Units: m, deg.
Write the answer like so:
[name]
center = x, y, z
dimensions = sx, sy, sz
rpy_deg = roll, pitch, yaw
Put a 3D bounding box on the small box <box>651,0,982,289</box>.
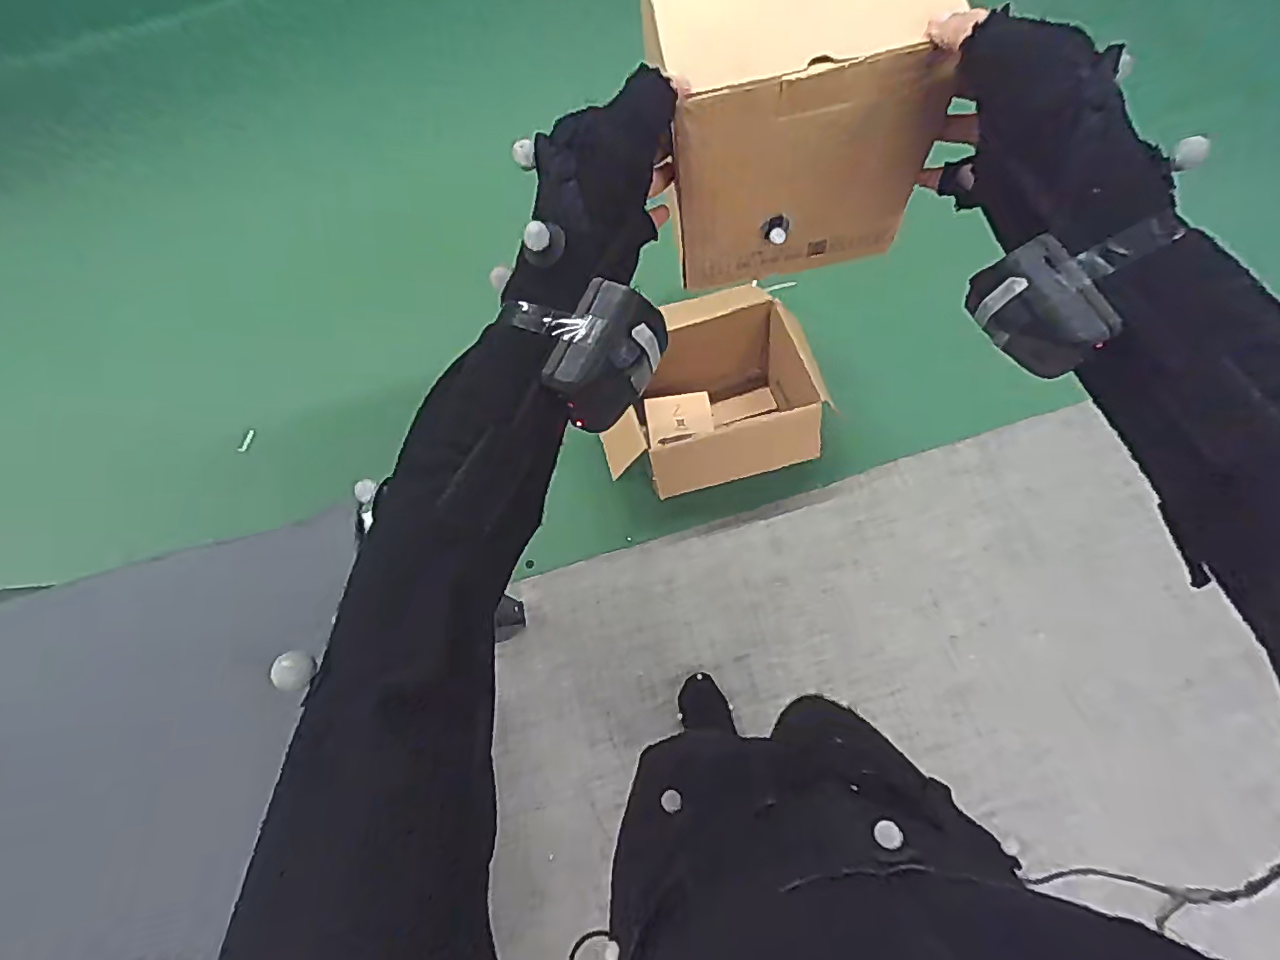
[small box]
center = 0.101, -0.273, 0.394
dimensions = 0.168, 0.176, 0.179
rpy_deg = -10, 72, 5
